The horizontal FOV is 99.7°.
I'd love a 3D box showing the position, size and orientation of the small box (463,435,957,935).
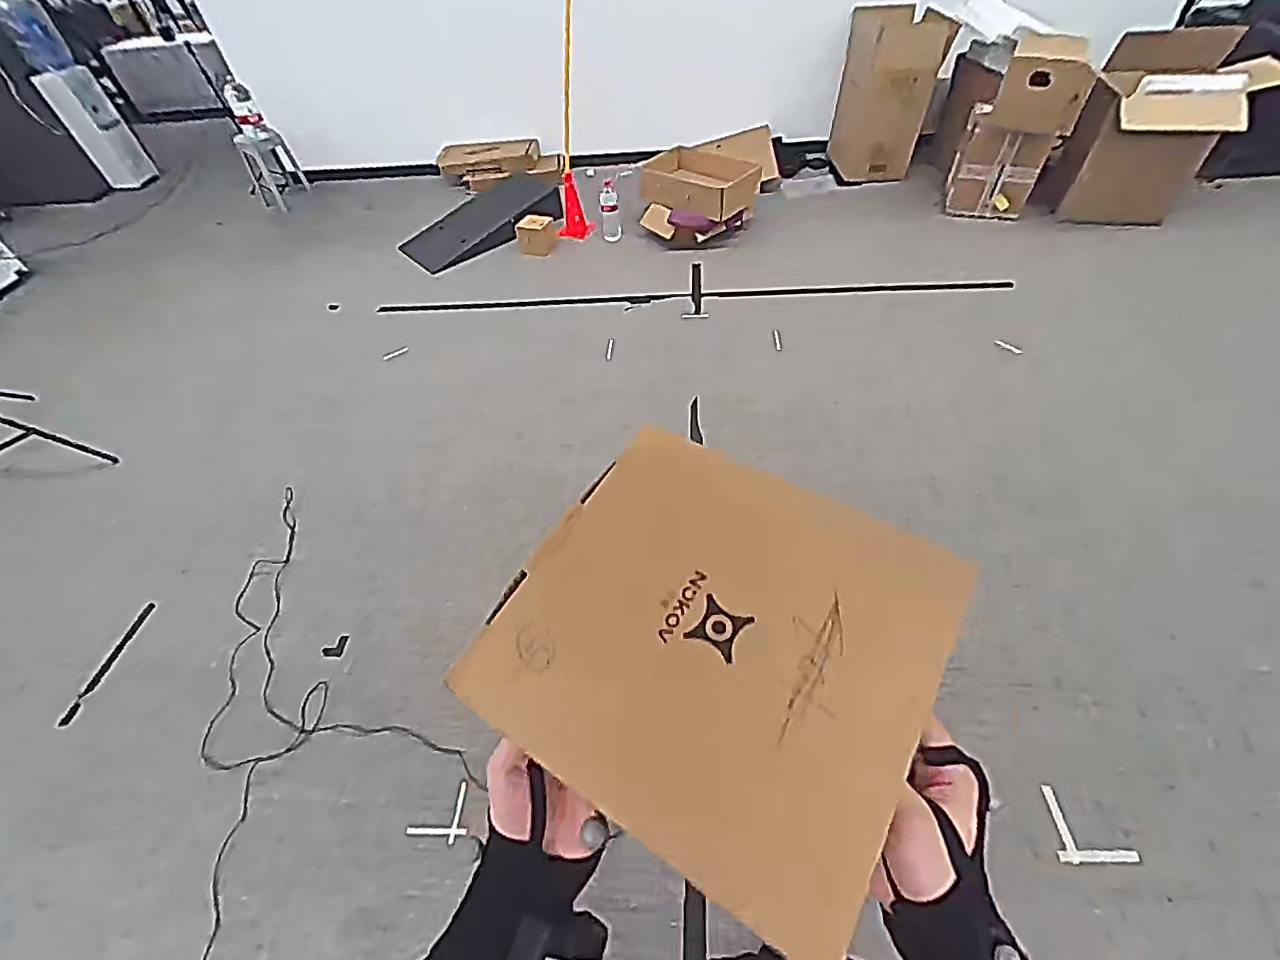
[{"bbox_3d":[0.040,0.110,0.312,0.179,0.176,0.168,25,62,21],"label":"small box"}]
